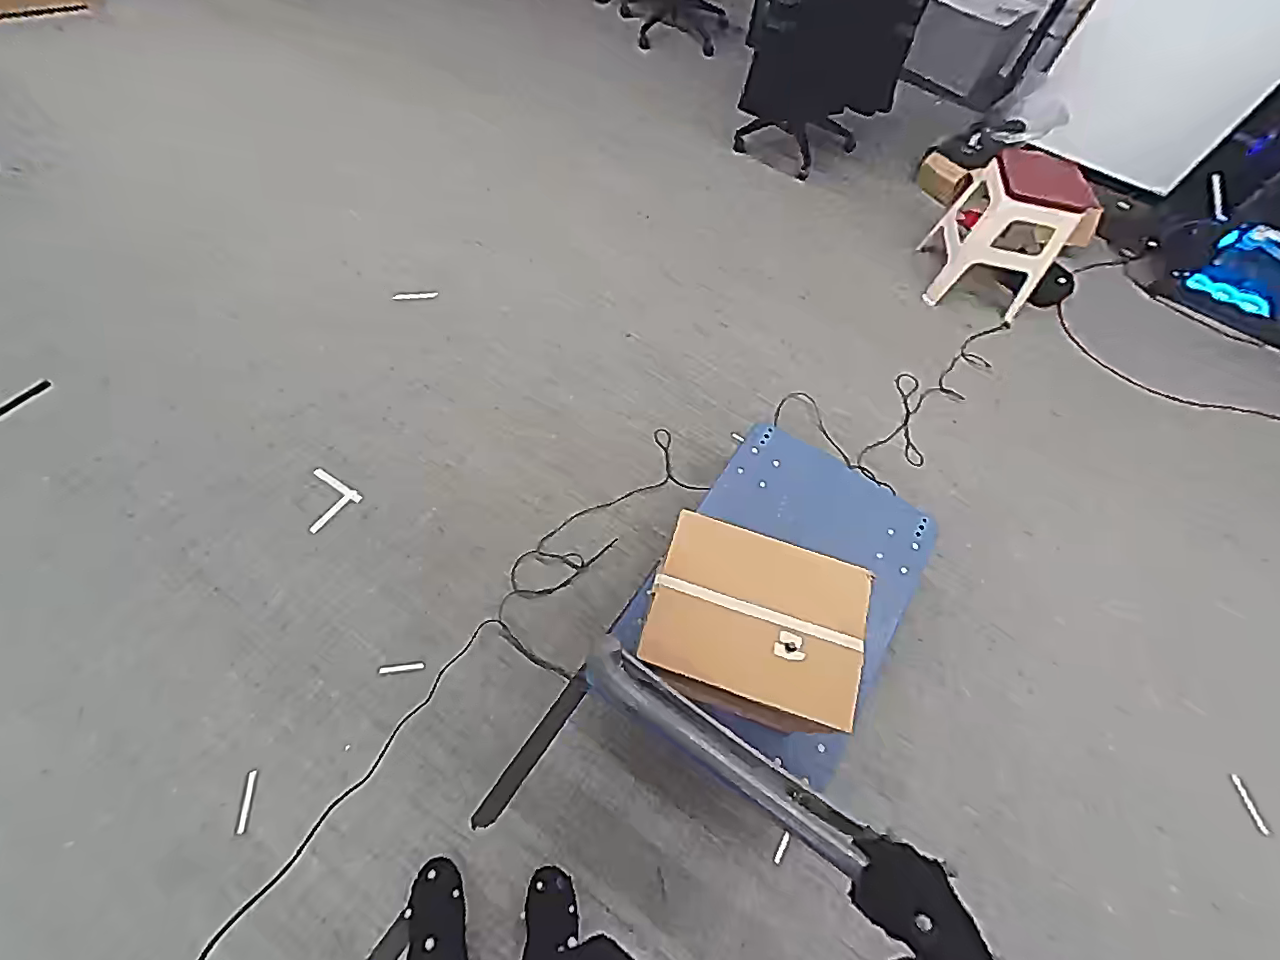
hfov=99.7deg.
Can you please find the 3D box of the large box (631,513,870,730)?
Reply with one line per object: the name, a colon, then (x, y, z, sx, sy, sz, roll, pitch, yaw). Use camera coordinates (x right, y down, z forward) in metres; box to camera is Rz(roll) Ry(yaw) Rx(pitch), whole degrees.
large box: (0.220, 0.317, 1.172, 0.408, 0.320, 0.320, 18, 65, 4)
